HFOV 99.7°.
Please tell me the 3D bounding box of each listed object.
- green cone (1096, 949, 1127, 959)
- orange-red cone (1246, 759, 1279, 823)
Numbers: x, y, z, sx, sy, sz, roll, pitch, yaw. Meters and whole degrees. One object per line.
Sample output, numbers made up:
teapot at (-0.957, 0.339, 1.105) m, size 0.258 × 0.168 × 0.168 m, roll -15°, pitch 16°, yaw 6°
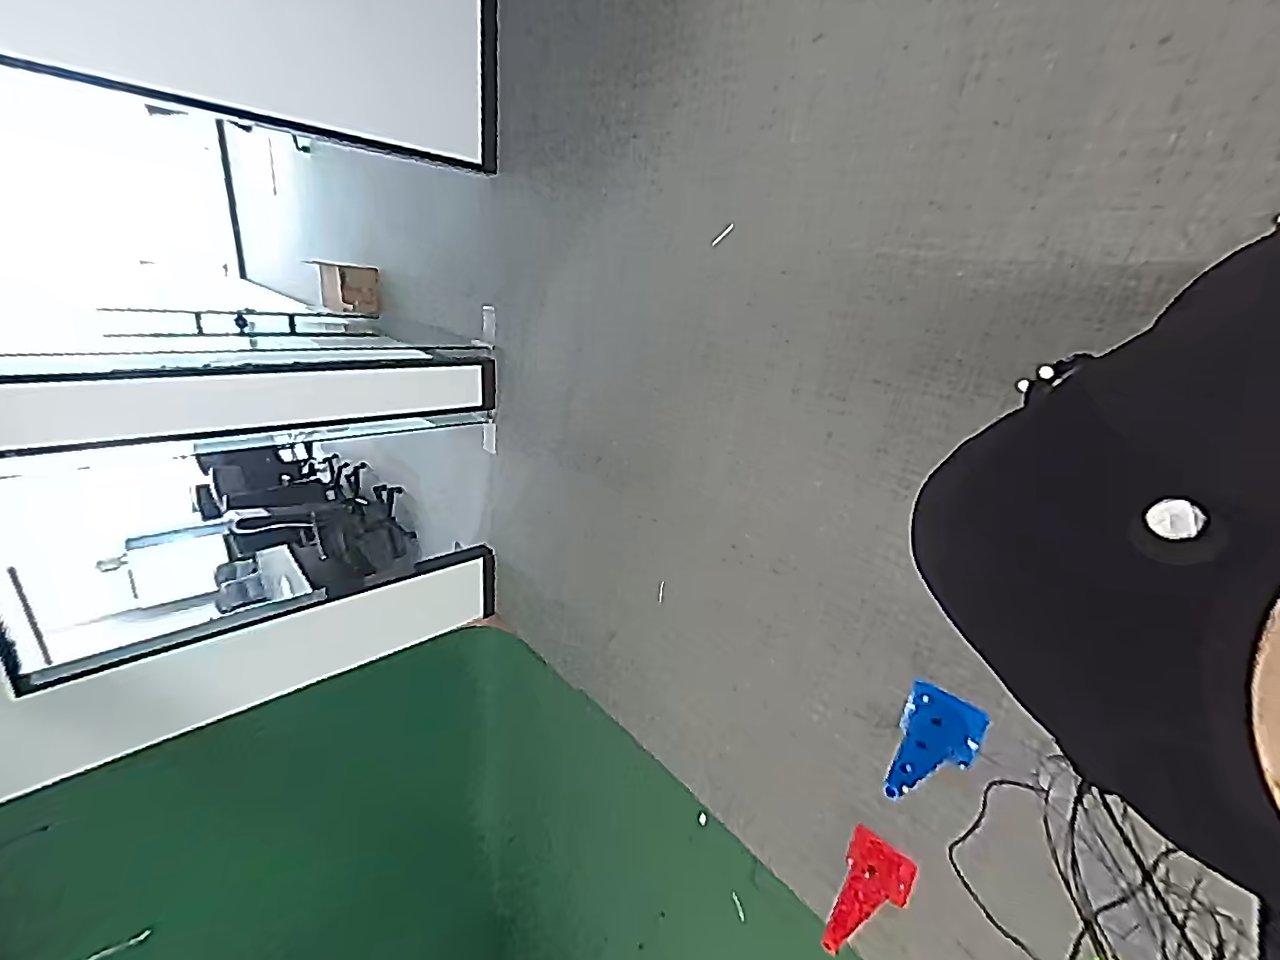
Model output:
green cone at (1.093, 1.313, 1.203) m, size 0.200 × 0.368 × 0.202 m, roll 28°, pitch 119°, yaw 39°
orange-red cone at (1.198, 0.651, 0.910) m, size 0.198 × 0.360 × 0.199 m, roll 32°, pitch 124°, yaw 39°
